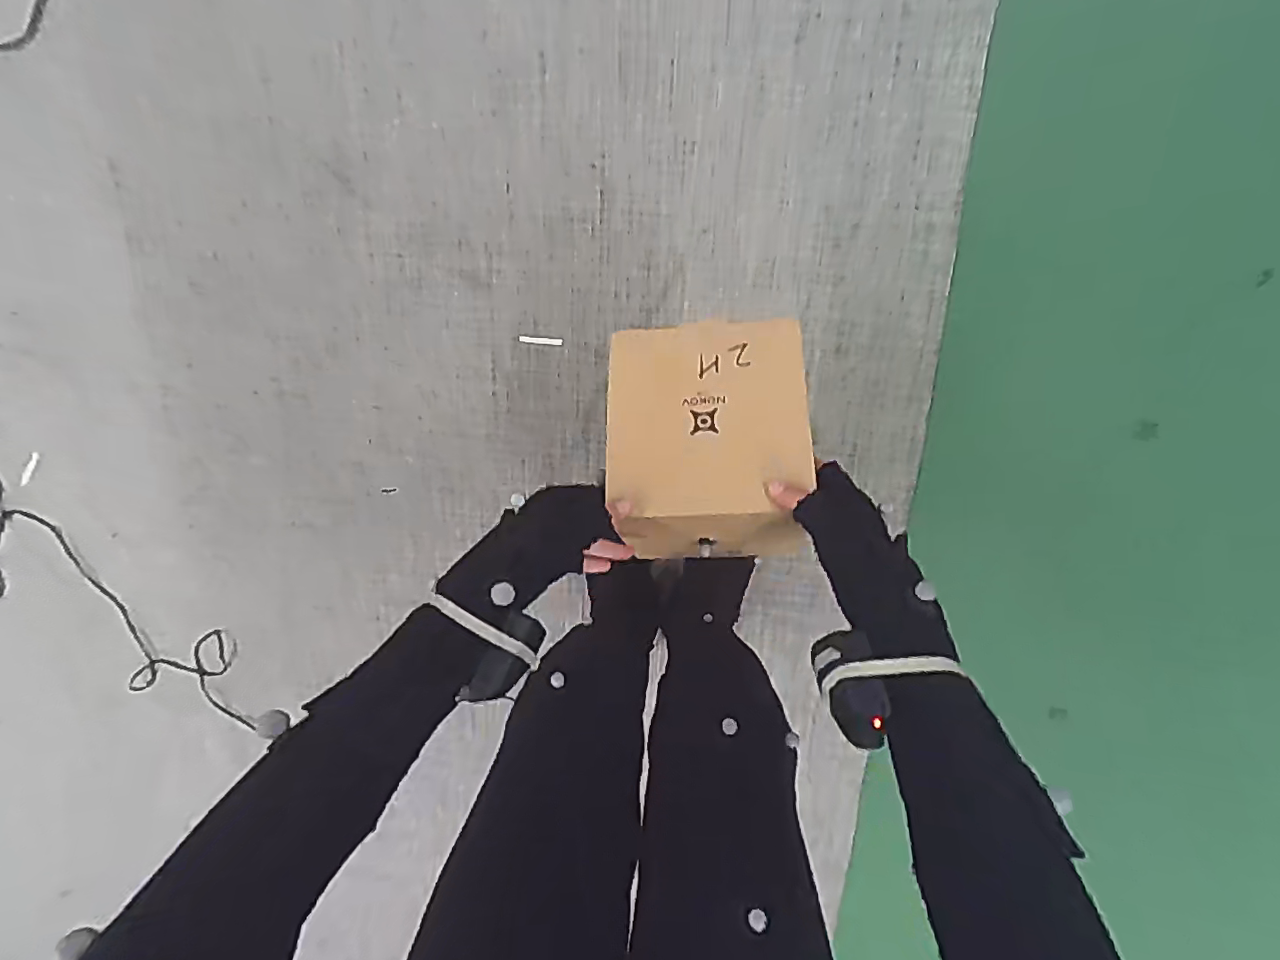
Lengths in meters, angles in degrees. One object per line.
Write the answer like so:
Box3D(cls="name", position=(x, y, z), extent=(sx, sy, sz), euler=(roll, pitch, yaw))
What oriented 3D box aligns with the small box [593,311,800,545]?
Box3D(cls="small box", position=(0.055, -0.035, 0.521), extent=(0.168, 0.176, 0.179), euler=(-2, 70, 7))
